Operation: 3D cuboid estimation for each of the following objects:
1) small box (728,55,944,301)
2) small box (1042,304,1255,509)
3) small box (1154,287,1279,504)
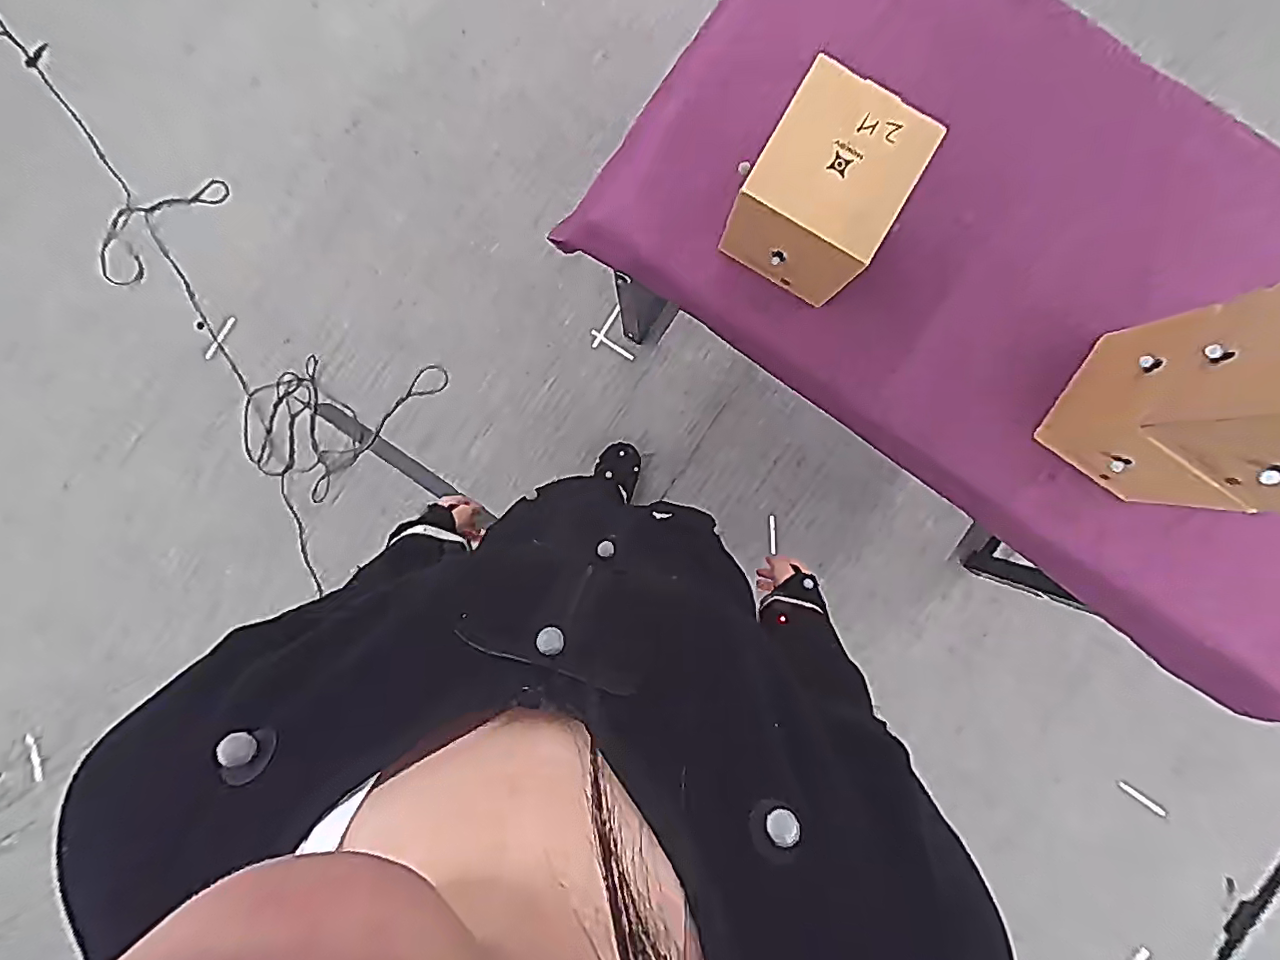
[{"bbox_3d":[0.224,-0.354,0.674,0.168,0.176,0.179,30,91,-2],"label":"small box"},{"bbox_3d":[0.667,-0.084,0.686,0.168,0.176,0.179,34,91,-1],"label":"small box"},{"bbox_3d":[0.670,-0.082,0.522,0.168,0.176,0.179,35,92,-1],"label":"small box"}]
